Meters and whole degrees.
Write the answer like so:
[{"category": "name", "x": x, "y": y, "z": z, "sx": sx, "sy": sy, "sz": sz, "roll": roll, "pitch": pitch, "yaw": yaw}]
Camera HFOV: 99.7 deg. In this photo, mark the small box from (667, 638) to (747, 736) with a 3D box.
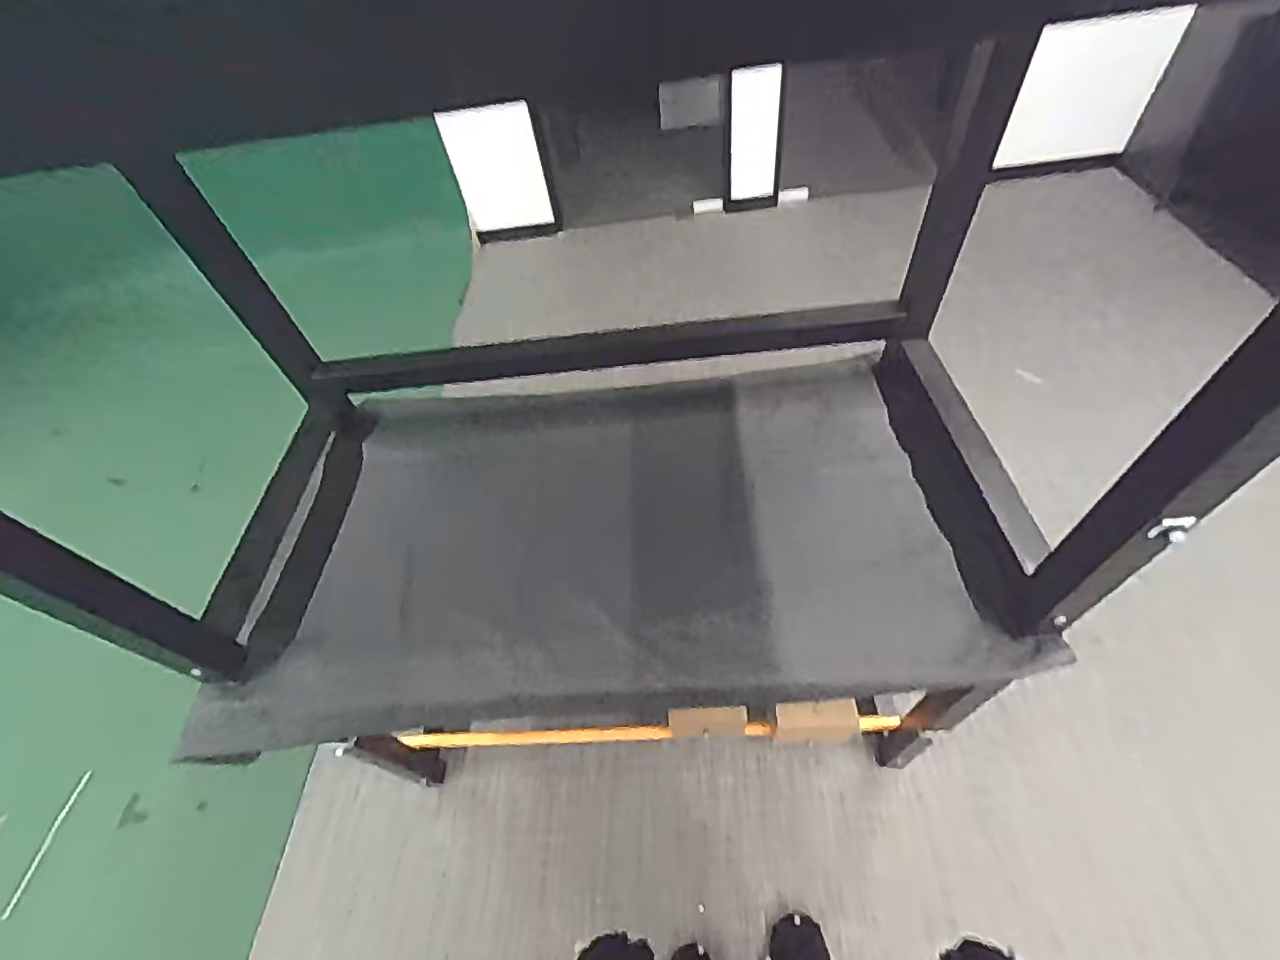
[{"category": "small box", "x": 0.154, "y": 0.480, "z": 1.240, "sx": 0.168, "sy": 0.176, "sz": 0.179, "roll": -5, "pitch": 52, "yaw": 5}]
